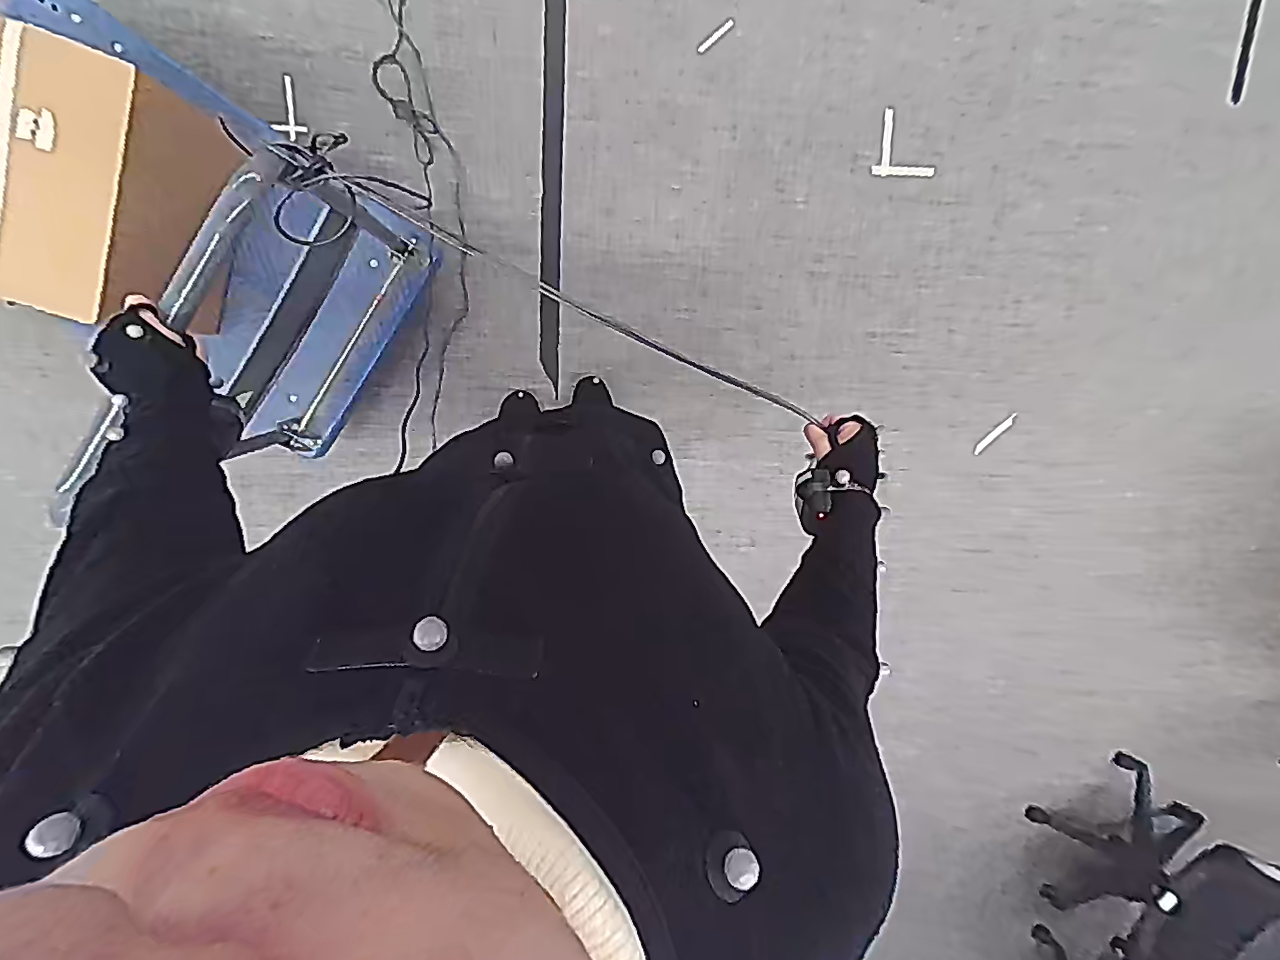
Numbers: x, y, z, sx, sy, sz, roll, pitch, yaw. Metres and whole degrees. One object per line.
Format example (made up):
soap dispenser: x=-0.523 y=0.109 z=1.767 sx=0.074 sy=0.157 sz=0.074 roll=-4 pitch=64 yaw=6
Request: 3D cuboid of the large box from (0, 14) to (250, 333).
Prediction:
large box: x=-0.977 y=-0.511 z=0.967 sx=0.320 sy=0.320 sz=0.408 roll=17 pitch=99 yaw=-10
